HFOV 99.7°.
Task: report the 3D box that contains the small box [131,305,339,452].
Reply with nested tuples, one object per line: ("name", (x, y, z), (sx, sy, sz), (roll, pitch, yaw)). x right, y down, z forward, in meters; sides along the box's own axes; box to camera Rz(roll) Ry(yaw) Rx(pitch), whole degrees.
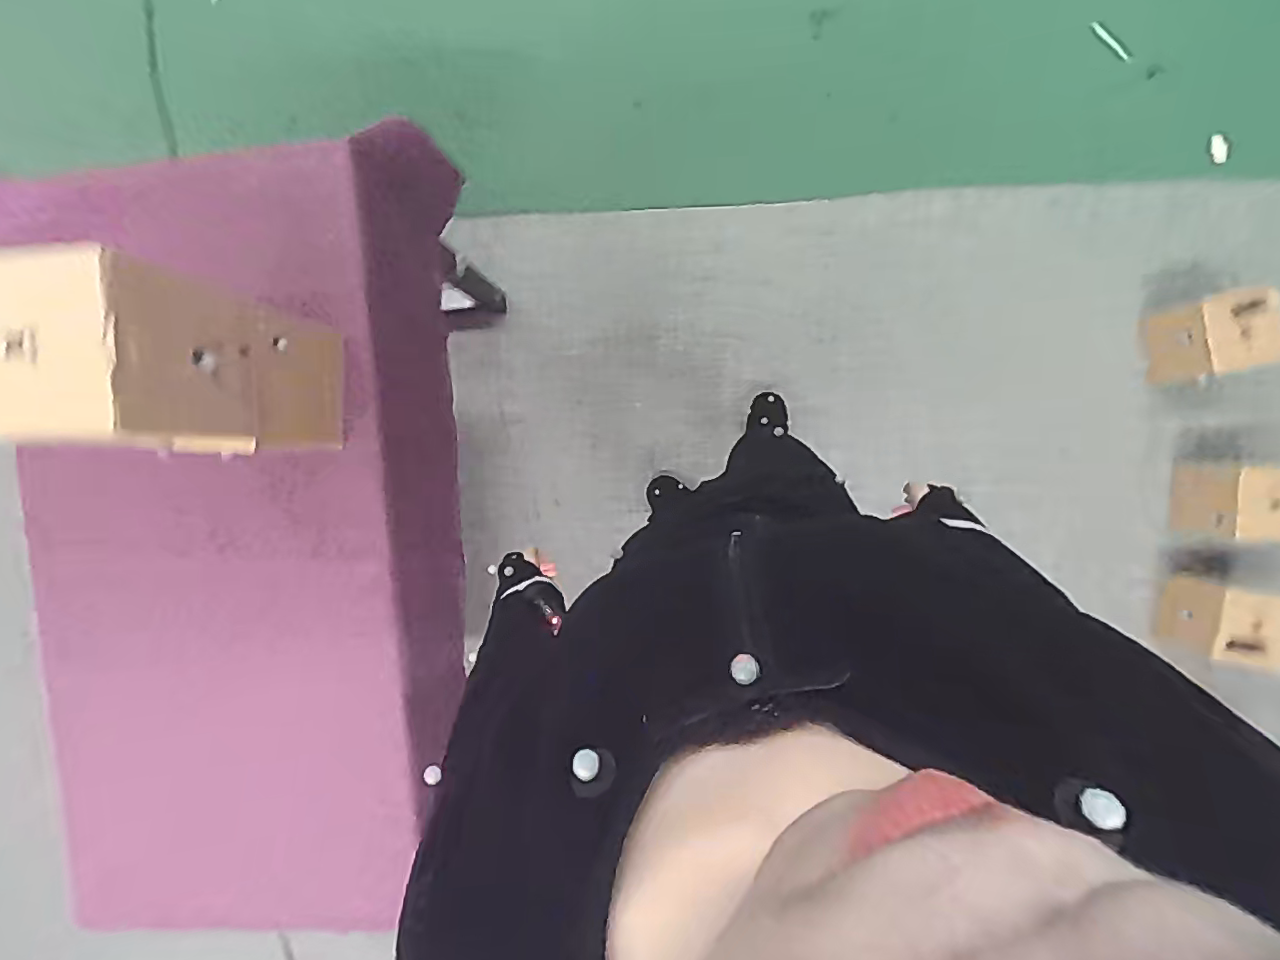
("small box", (-0.536, -0.130, 0.732), (0.168, 0.176, 0.179), (3, 93, 5))

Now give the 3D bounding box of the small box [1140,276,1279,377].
("small box", (1.350, -0.357, 1.288), (0.168, 0.176, 0.179), (-13, 93, 5))

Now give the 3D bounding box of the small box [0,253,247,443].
("small box", (-0.551, -0.124, 0.568), (0.179, 0.176, 0.168), (-1, 92, 5))

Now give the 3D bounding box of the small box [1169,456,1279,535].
("small box", (1.435, 0.032, 1.303), (0.168, 0.176, 0.179), (0, 93, 4))
